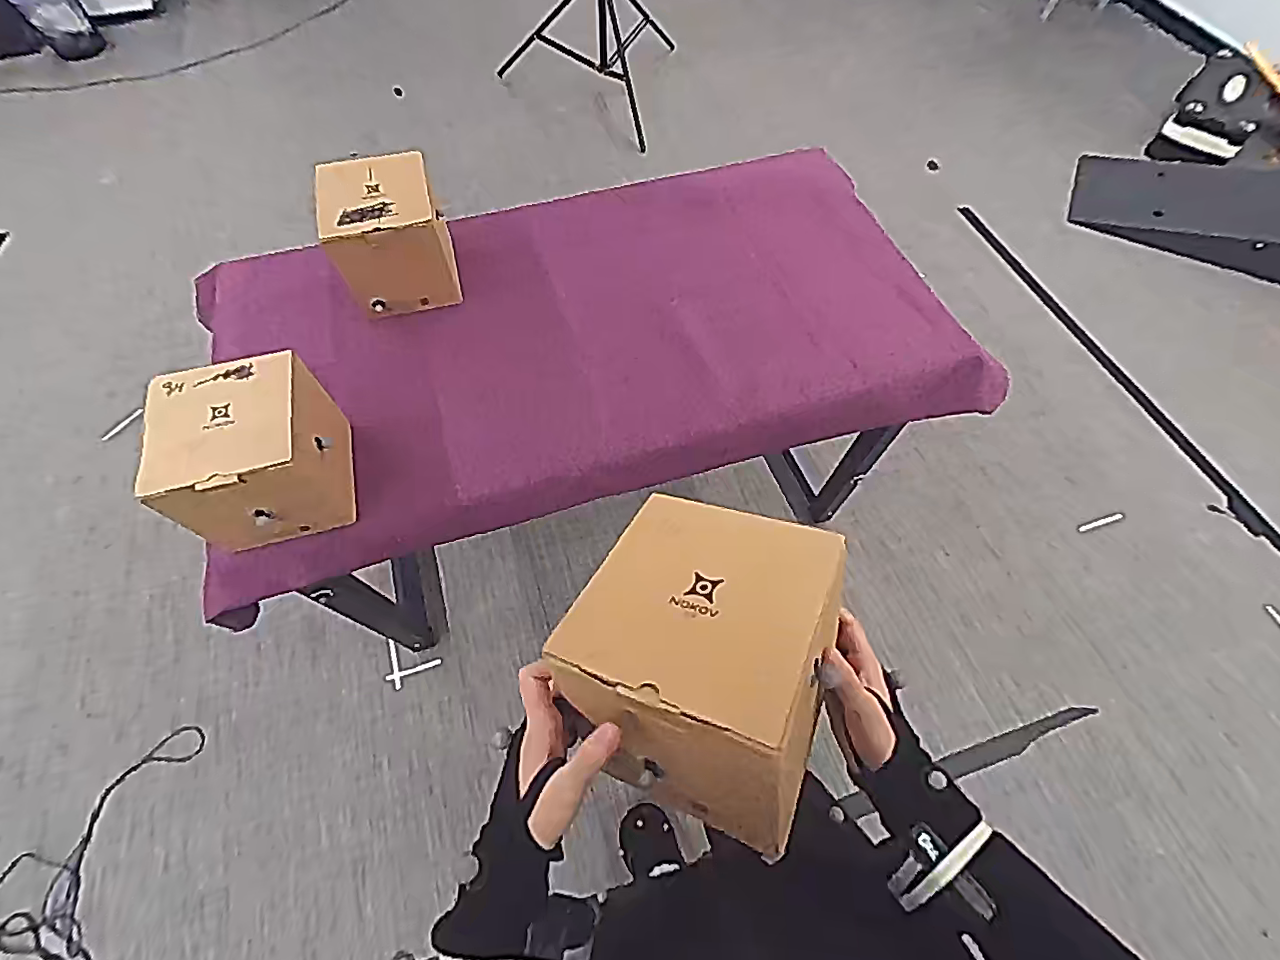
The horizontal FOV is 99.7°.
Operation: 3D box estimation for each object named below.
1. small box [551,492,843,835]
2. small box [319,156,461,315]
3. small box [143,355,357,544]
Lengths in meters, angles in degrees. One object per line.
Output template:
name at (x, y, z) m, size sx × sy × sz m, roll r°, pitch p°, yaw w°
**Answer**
small box at (0.056, 0.141, 0.441) m, size 0.168 × 0.176 × 0.179 m, roll 12°, pitch 45°, yaw 25°
small box at (-0.409, -0.398, 0.903) m, size 0.168 × 0.176 × 0.179 m, roll -14°, pitch 64°, yaw -8°
small box at (-0.492, -0.030, 0.710) m, size 0.168 × 0.176 × 0.179 m, roll -14°, pitch 64°, yaw -9°
